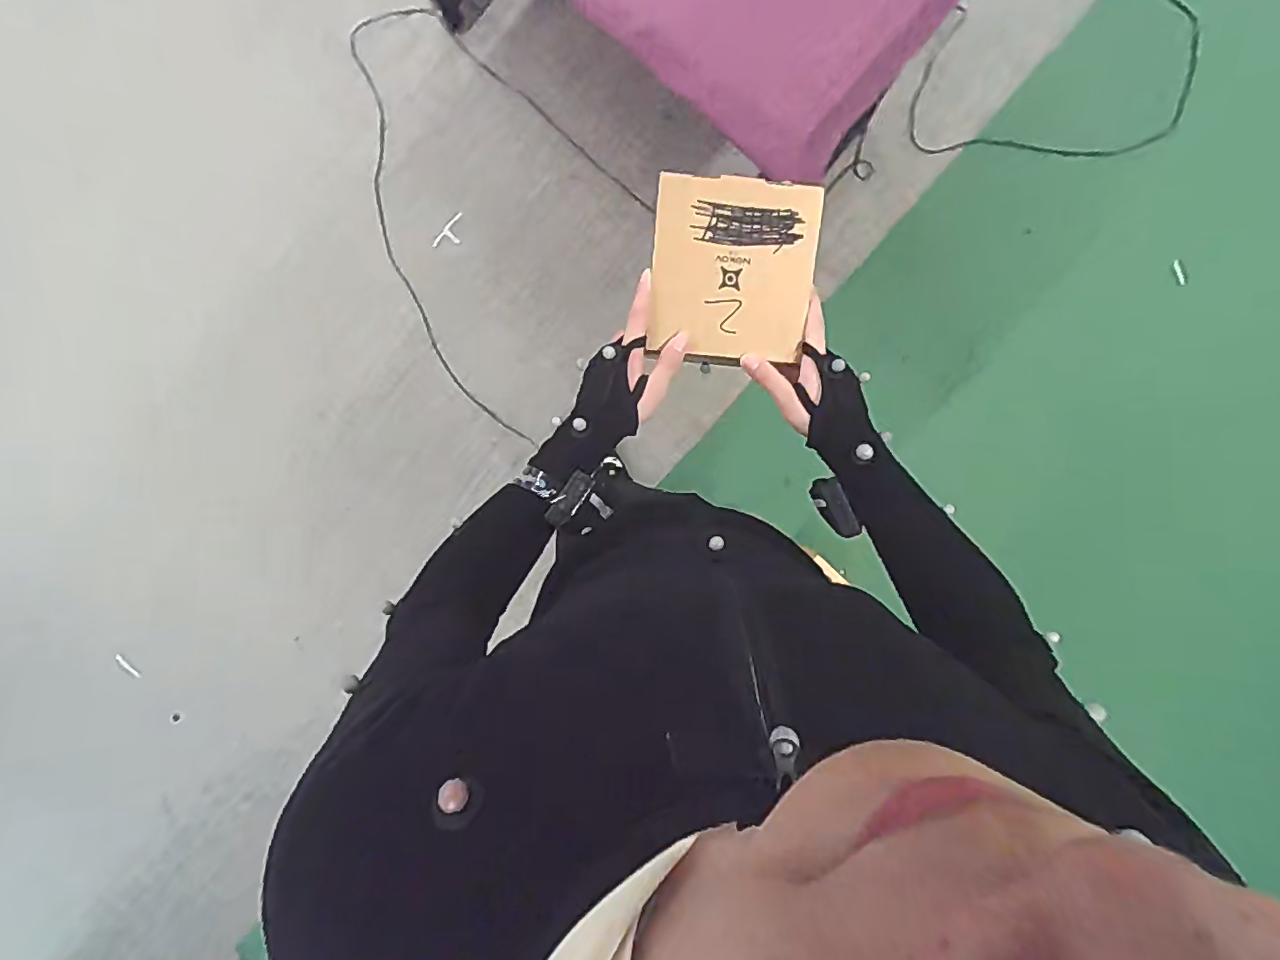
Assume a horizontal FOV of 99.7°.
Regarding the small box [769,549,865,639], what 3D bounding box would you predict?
[{"bbox_3d":[0.495,0.314,1.540,0.179,0.176,0.168,43,93,-1],"label":"small box"}]
